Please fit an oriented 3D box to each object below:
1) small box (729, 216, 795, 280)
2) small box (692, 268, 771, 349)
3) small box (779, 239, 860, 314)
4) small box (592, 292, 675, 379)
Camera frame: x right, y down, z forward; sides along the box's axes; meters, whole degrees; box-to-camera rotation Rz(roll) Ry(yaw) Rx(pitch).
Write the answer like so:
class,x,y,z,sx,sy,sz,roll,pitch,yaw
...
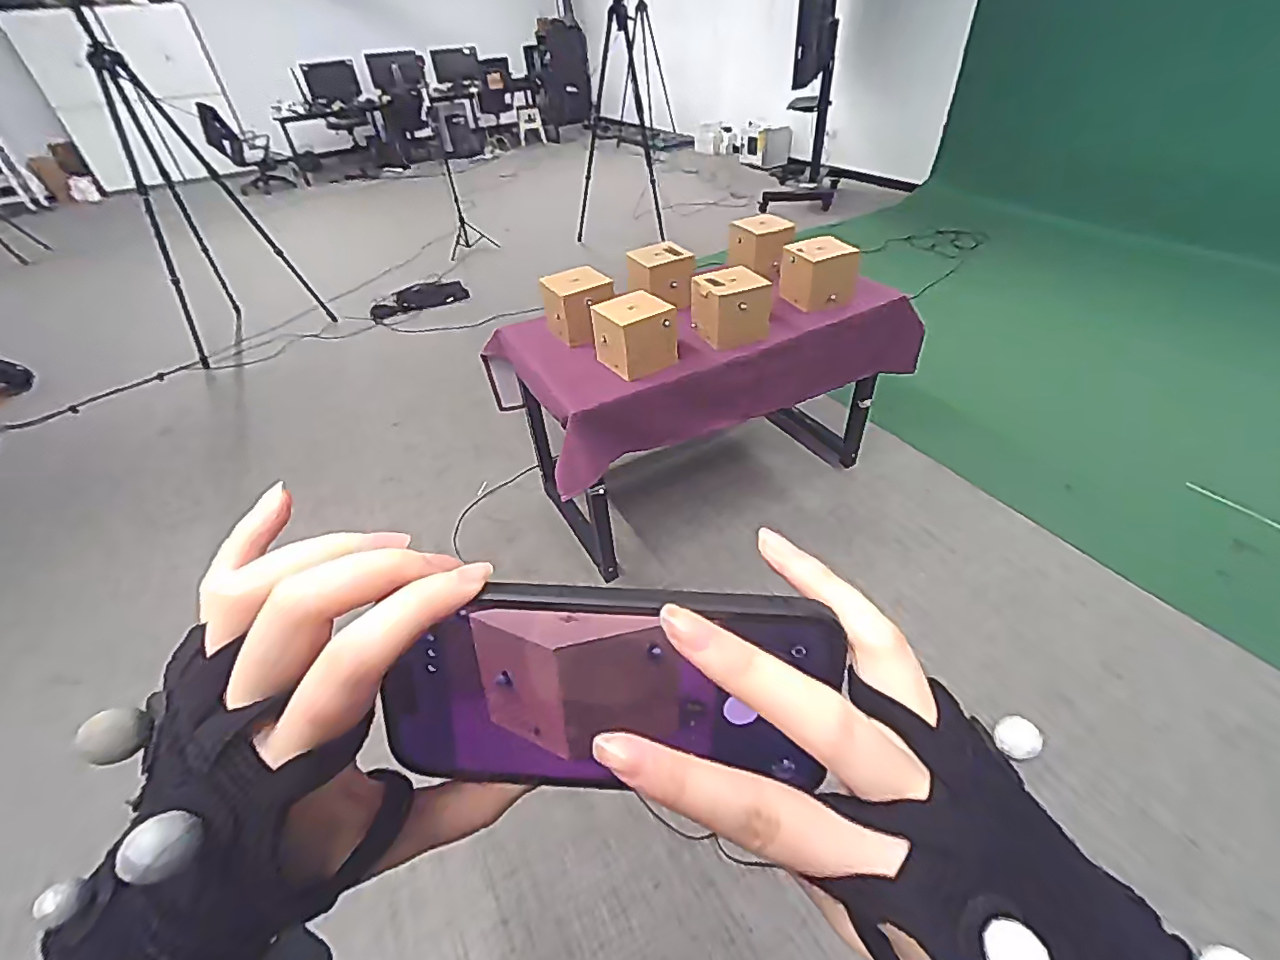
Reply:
class,x,y,z,sx,sy,sz,roll,pitch,yaw
small box,0.436,-0.842,1.968,0.168,0.176,0.179,-20,44,-16
small box,0.267,-0.509,1.608,0.179,0.176,0.168,-17,43,-15
small box,0.573,-0.660,1.752,0.179,0.176,0.168,-17,43,-14
small box,-0.013,-0.403,1.515,0.179,0.176,0.168,-26,45,-24
